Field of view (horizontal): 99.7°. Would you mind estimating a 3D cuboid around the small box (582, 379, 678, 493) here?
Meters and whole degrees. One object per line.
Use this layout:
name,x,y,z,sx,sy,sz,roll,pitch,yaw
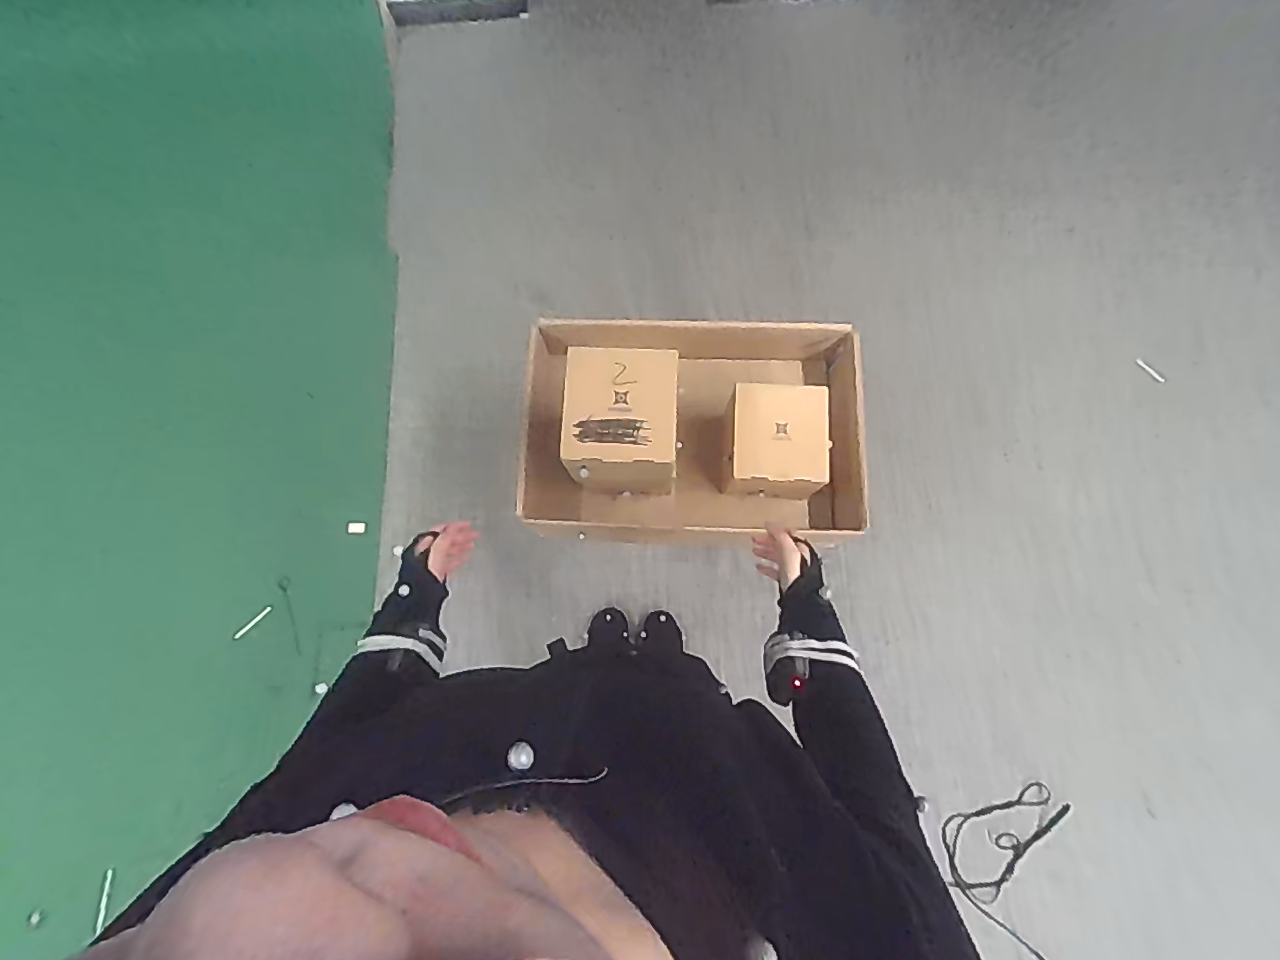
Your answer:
small box,-0.015,-0.078,1.025,0.168,0.176,0.179,1,79,2
